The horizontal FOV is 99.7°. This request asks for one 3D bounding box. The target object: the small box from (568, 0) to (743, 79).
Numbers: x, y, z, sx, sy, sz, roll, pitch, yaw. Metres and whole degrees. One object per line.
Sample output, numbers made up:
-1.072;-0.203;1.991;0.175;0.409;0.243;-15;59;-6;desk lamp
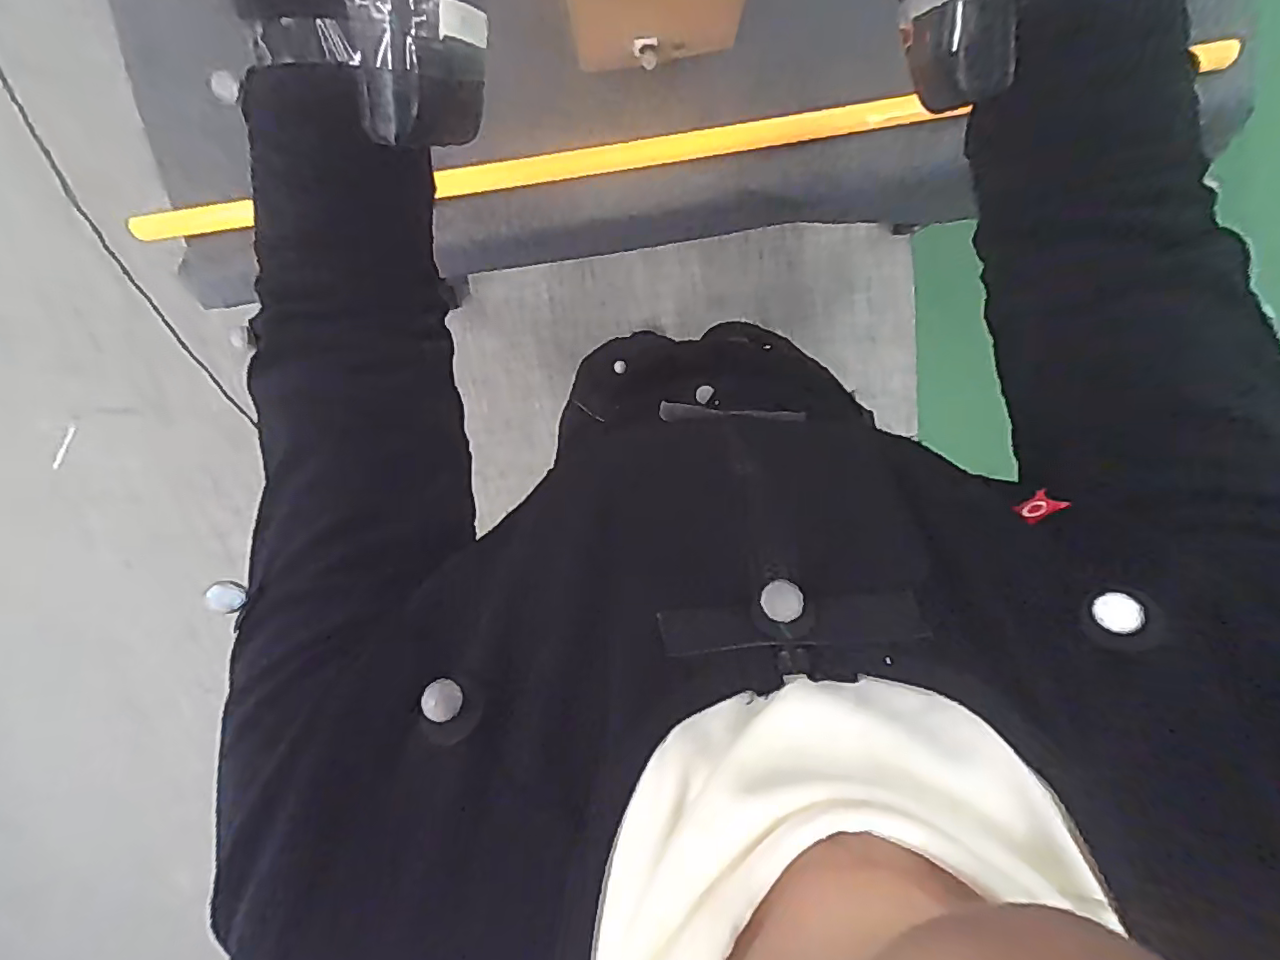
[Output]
0.005;-0.520;0.498;0.168;0.176;0.179;-9;103;4;small box
